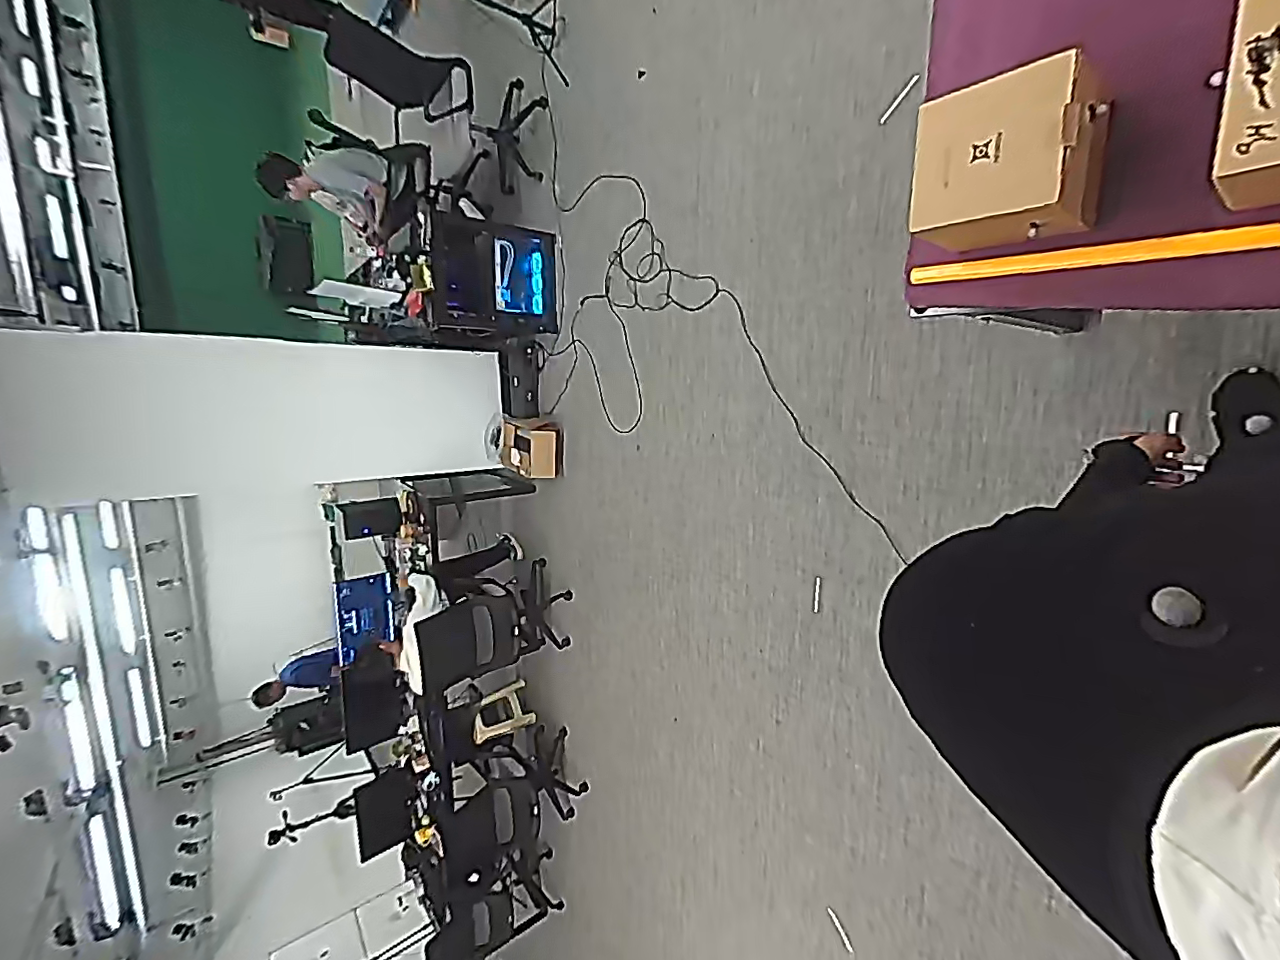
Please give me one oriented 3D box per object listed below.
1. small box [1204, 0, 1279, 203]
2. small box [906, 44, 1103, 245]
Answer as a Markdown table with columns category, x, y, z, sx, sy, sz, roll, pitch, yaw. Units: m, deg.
| category | x | y | z | sx | sy | sz | roll | pitch | yaw |
| --- | --- | --- | --- | --- | --- | --- | --- | --- | --- |
| small box | 0.673 | -0.378 | 0.501 | 0.179 | 0.176 | 0.168 | 13 | 106 | 50 |
| small box | 0.489 | -0.428 | 0.727 | 0.179 | 0.176 | 0.168 | 12 | 106 | 49 |
